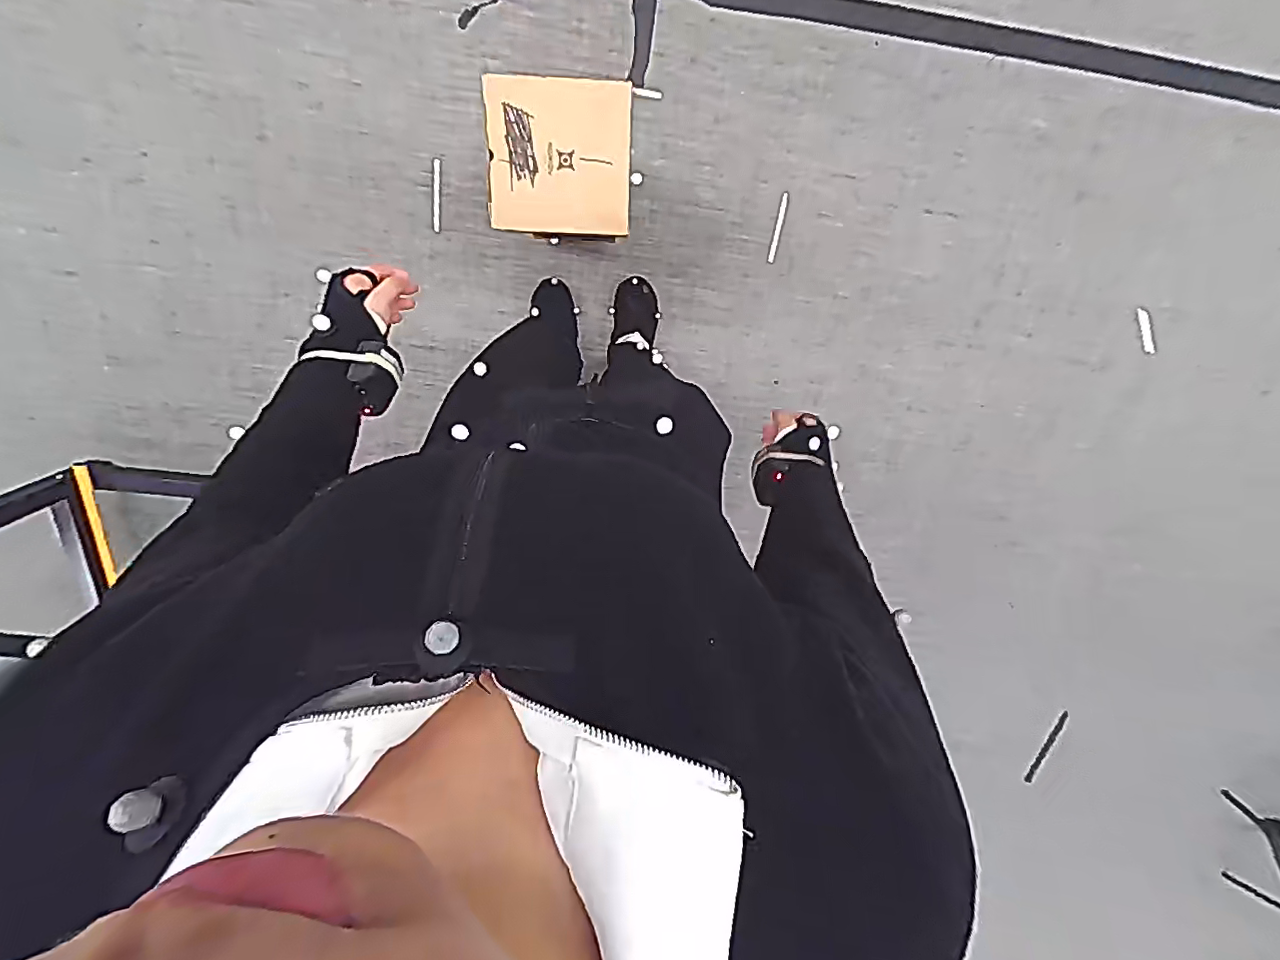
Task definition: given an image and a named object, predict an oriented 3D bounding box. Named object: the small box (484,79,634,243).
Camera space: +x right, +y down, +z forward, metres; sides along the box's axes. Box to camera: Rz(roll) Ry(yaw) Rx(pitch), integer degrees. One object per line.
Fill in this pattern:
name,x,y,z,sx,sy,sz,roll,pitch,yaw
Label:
small box,-0.100,-0.416,0.731,0.179,0.176,0.168,2,113,-2
